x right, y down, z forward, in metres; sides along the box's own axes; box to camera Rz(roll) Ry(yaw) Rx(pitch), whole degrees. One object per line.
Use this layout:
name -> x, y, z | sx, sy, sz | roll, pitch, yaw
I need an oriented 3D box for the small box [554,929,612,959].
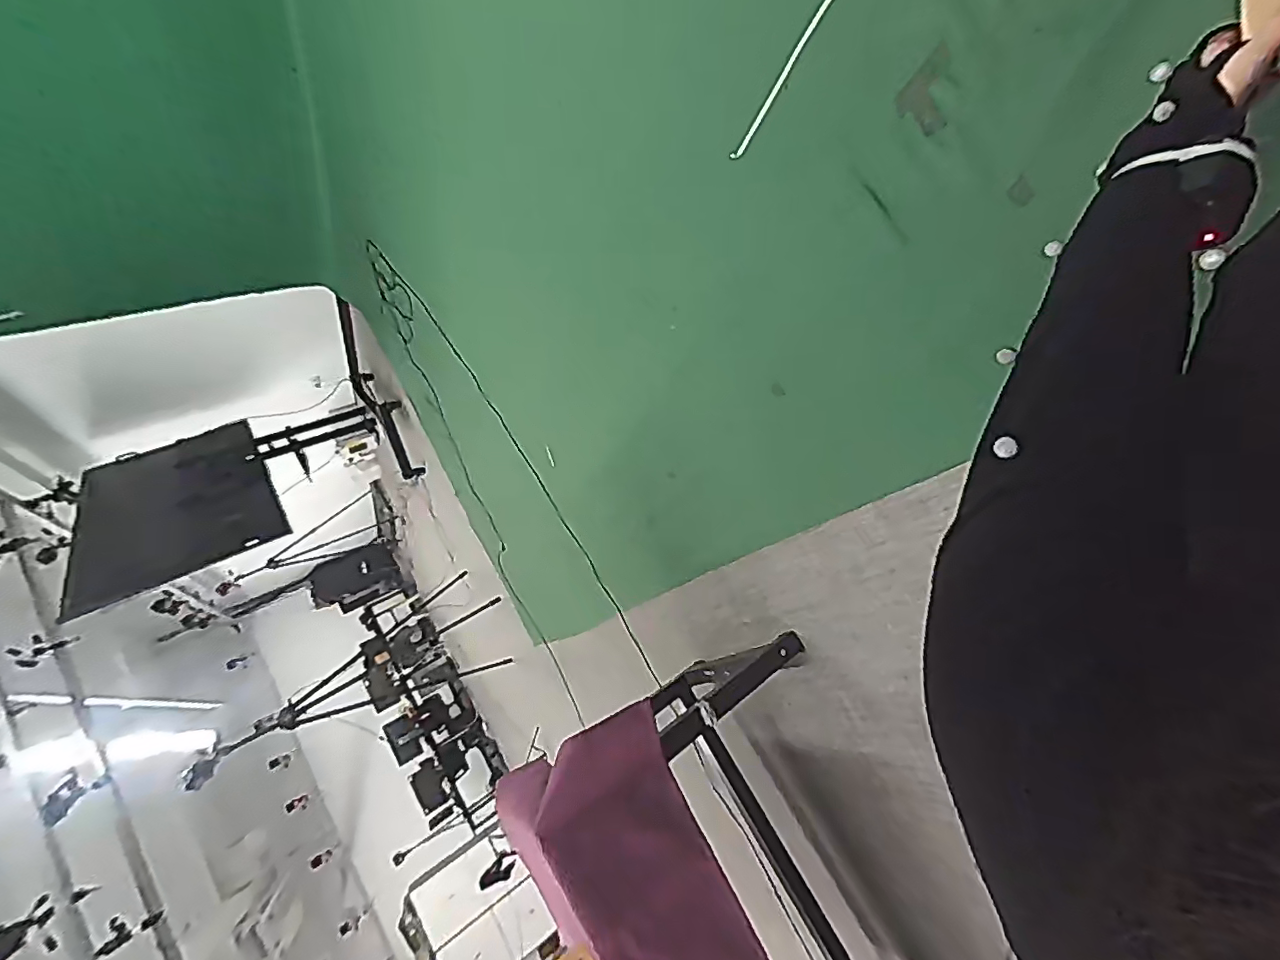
small box -> -0.097, 0.993, 0.987 | 0.179, 0.176, 0.168 | 62, 151, 6
